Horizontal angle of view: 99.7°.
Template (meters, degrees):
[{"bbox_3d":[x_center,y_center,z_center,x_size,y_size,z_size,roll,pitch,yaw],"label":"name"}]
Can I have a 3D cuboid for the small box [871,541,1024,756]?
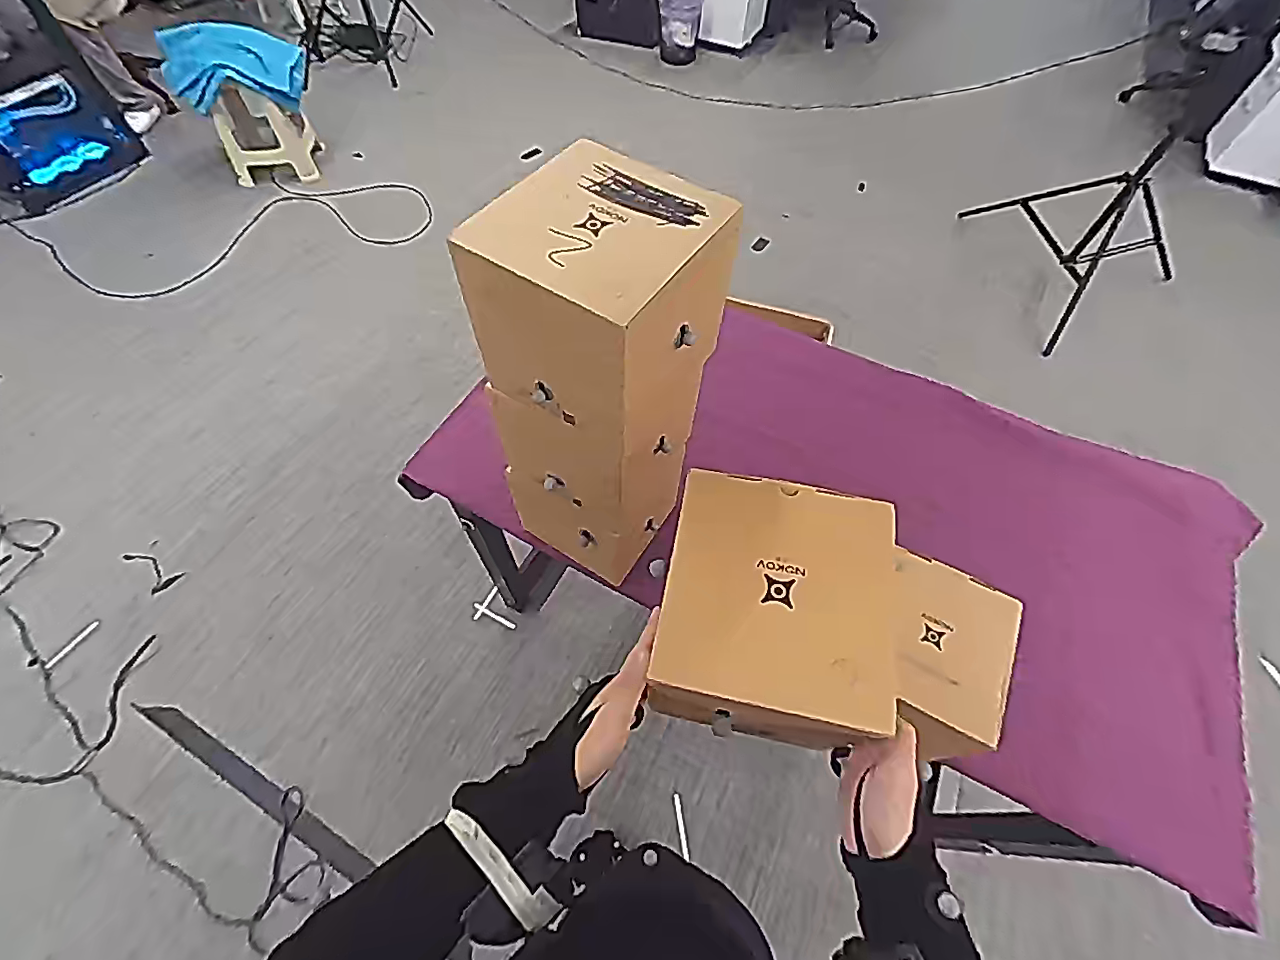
[{"bbox_3d":[0.322,0.207,0.658,0.168,0.176,0.179,25,62,15],"label":"small box"}]

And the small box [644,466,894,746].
[{"bbox_3d":[0.104,0.115,0.464,0.168,0.176,0.179,10,60,8],"label":"small box"}]

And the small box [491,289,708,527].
[{"bbox_3d":[-0.042,-0.079,0.628,0.168,0.176,0.179,29,63,15],"label":"small box"}]

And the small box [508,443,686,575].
[{"bbox_3d":[-0.055,0.012,0.764,0.179,0.176,0.168,29,62,16],"label":"small box"}]
